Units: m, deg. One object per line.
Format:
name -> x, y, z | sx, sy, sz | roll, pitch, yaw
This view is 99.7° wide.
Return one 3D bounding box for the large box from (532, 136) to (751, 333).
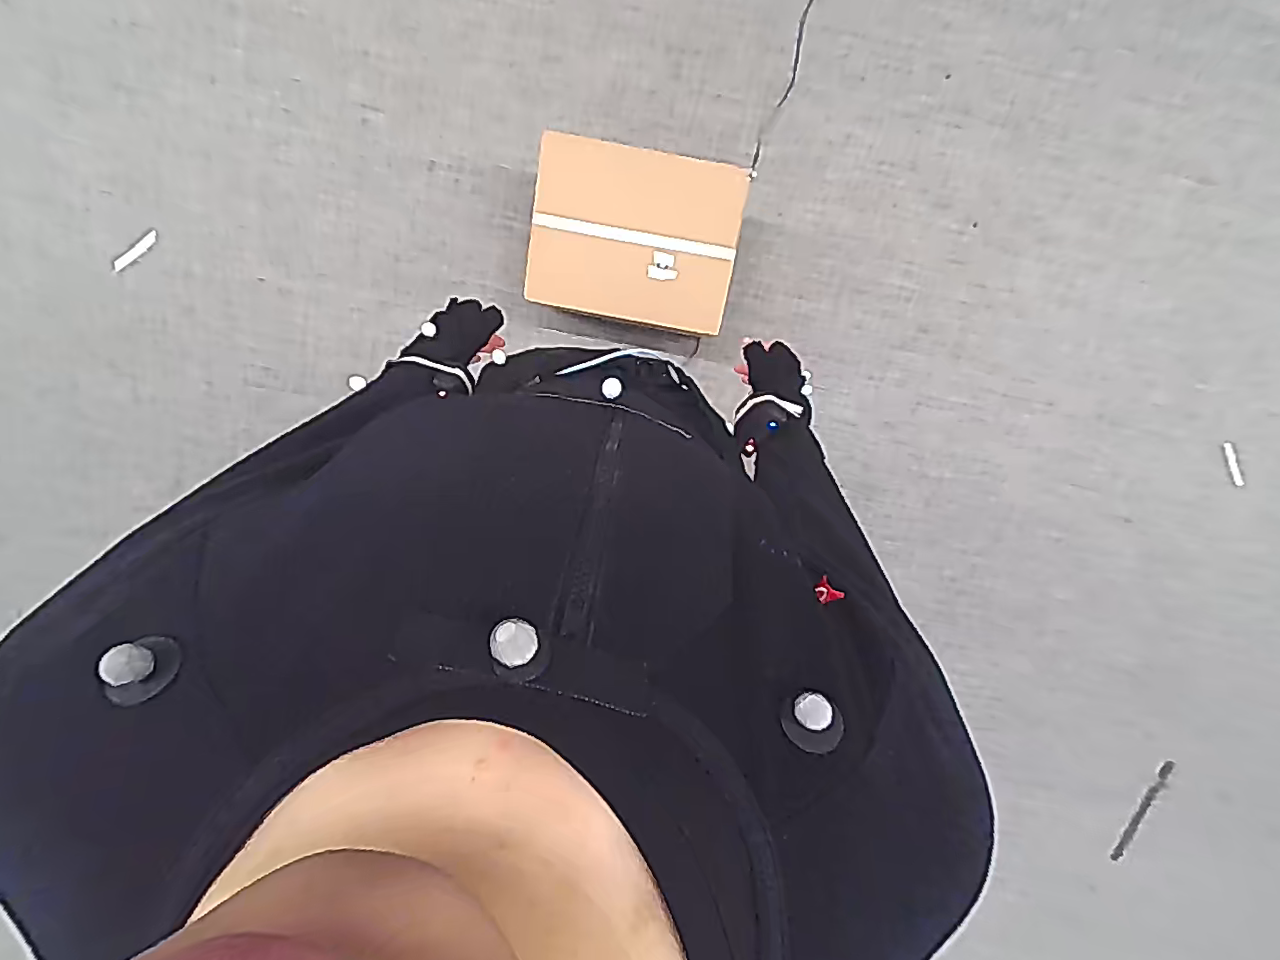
large box -> -0.005, -0.522, 1.221 | 0.408, 0.320, 0.320 | 10, 105, -2
